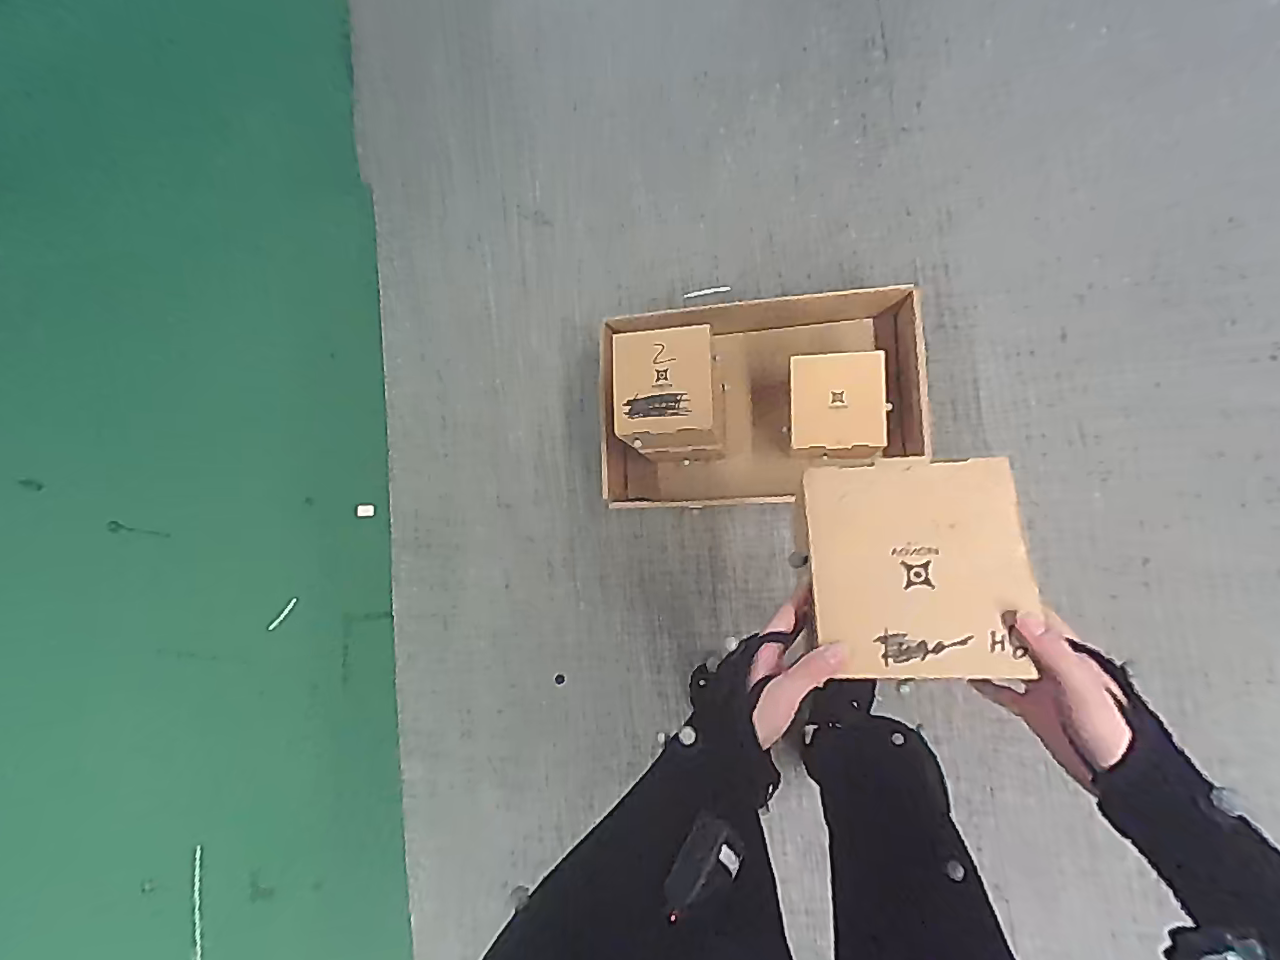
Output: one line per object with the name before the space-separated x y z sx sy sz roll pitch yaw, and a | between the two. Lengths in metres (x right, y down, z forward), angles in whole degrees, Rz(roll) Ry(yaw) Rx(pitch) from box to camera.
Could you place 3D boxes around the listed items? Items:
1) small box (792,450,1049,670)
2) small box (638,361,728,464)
small box | 0.239 0.086 0.513 0.168 0.176 0.179 -4 72 12
small box | 0.093 -0.133 1.121 0.168 0.176 0.179 -2 84 13
